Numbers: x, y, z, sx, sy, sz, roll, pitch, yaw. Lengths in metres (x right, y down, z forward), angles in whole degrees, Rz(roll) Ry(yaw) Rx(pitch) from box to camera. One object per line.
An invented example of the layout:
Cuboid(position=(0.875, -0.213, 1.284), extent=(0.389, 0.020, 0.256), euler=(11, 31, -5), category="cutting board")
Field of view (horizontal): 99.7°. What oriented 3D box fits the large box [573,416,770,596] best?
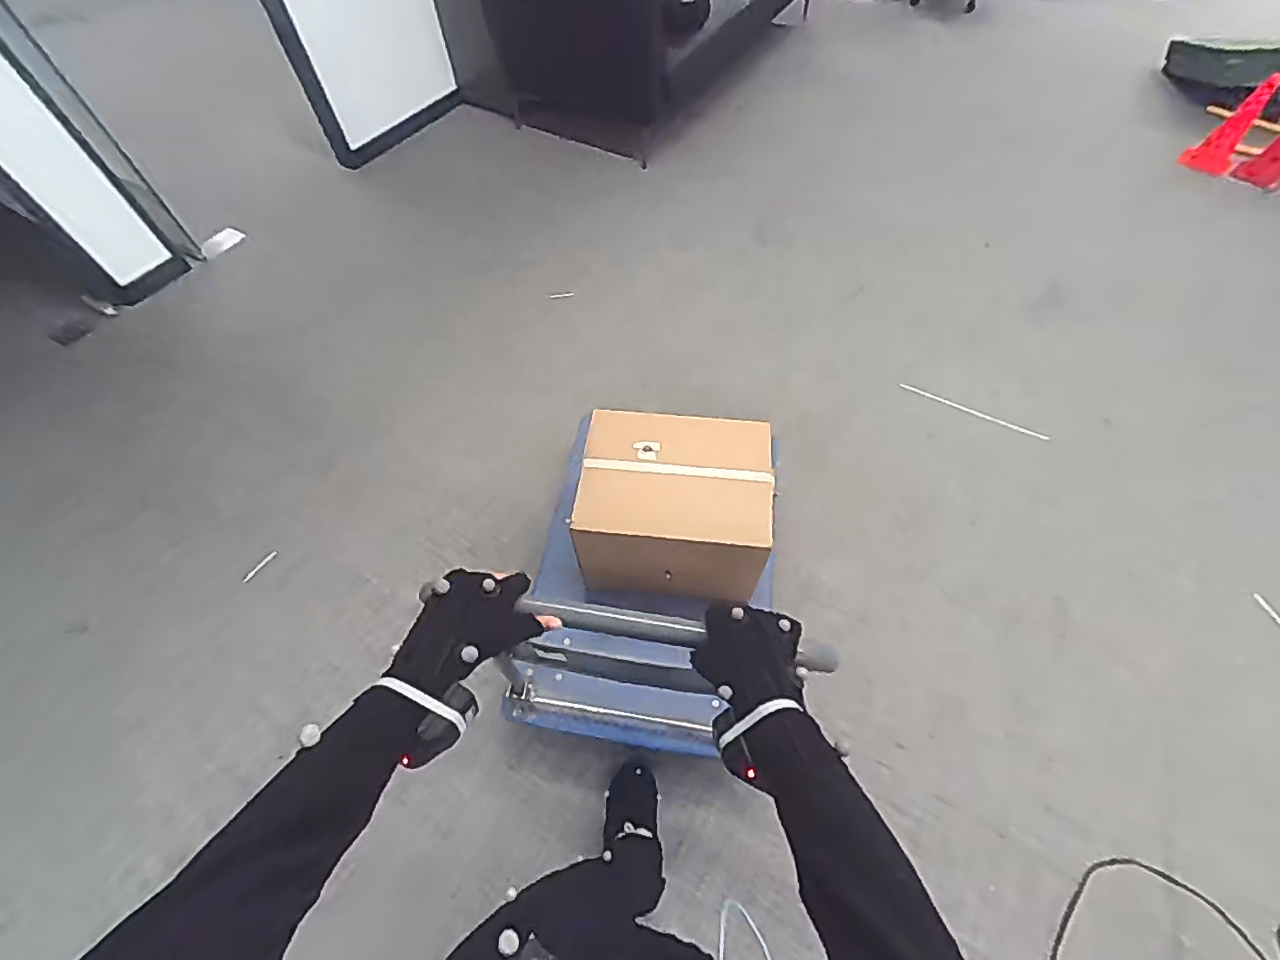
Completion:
Cuboid(position=(0.079, 0.070, 1.285), extent=(0.408, 0.320, 0.320), euler=(4, 58, 5), category="large box")
